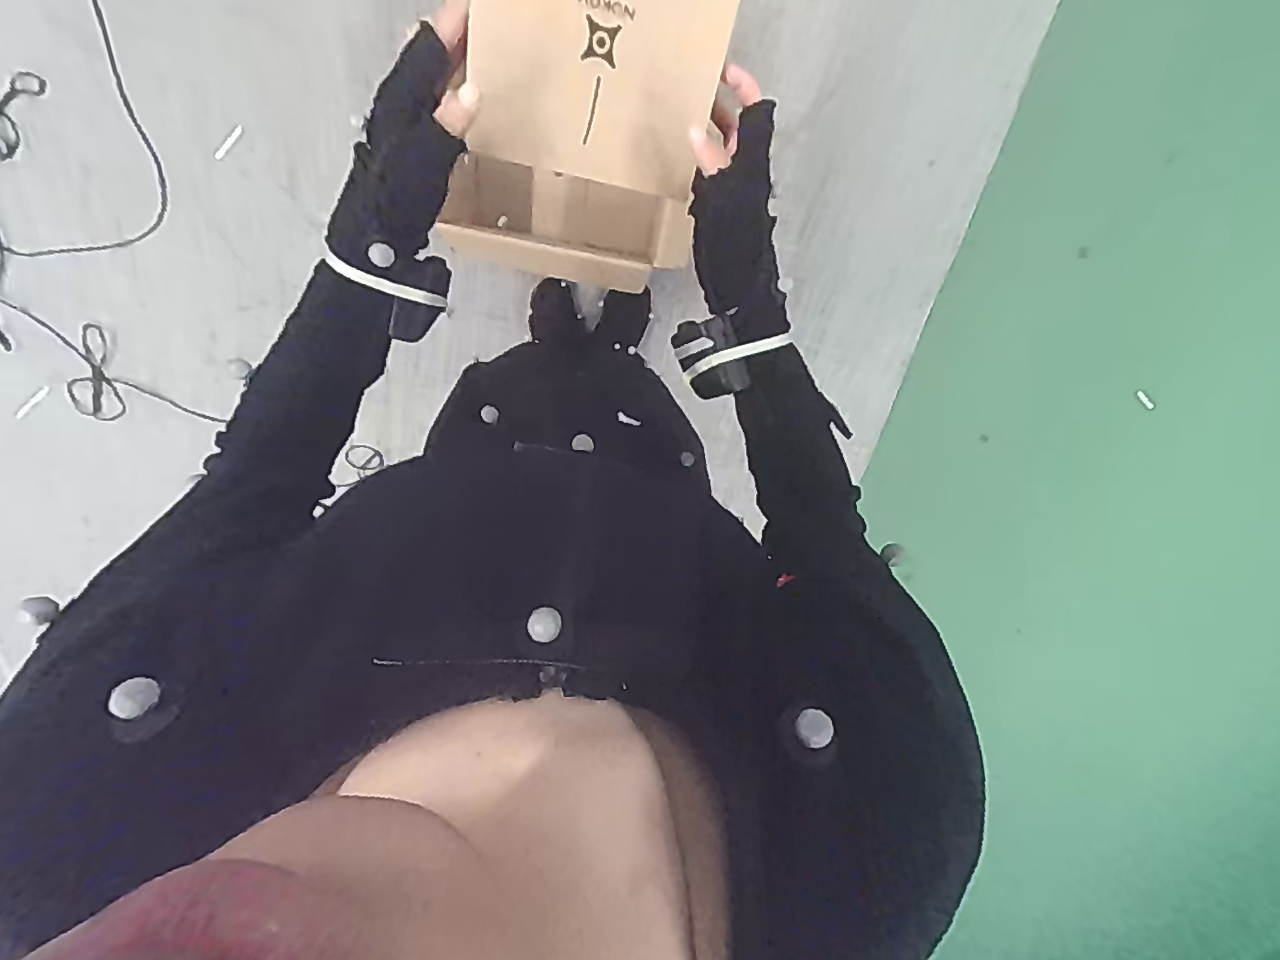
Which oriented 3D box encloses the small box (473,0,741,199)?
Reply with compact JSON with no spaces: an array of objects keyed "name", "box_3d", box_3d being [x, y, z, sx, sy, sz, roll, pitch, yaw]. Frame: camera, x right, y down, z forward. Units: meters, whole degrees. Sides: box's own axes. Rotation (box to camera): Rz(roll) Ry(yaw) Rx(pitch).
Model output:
[{"name":"small box","box_3d":[-0.037,-0.339,0.409,0.168,0.176,0.179,3,127,-17]}]
